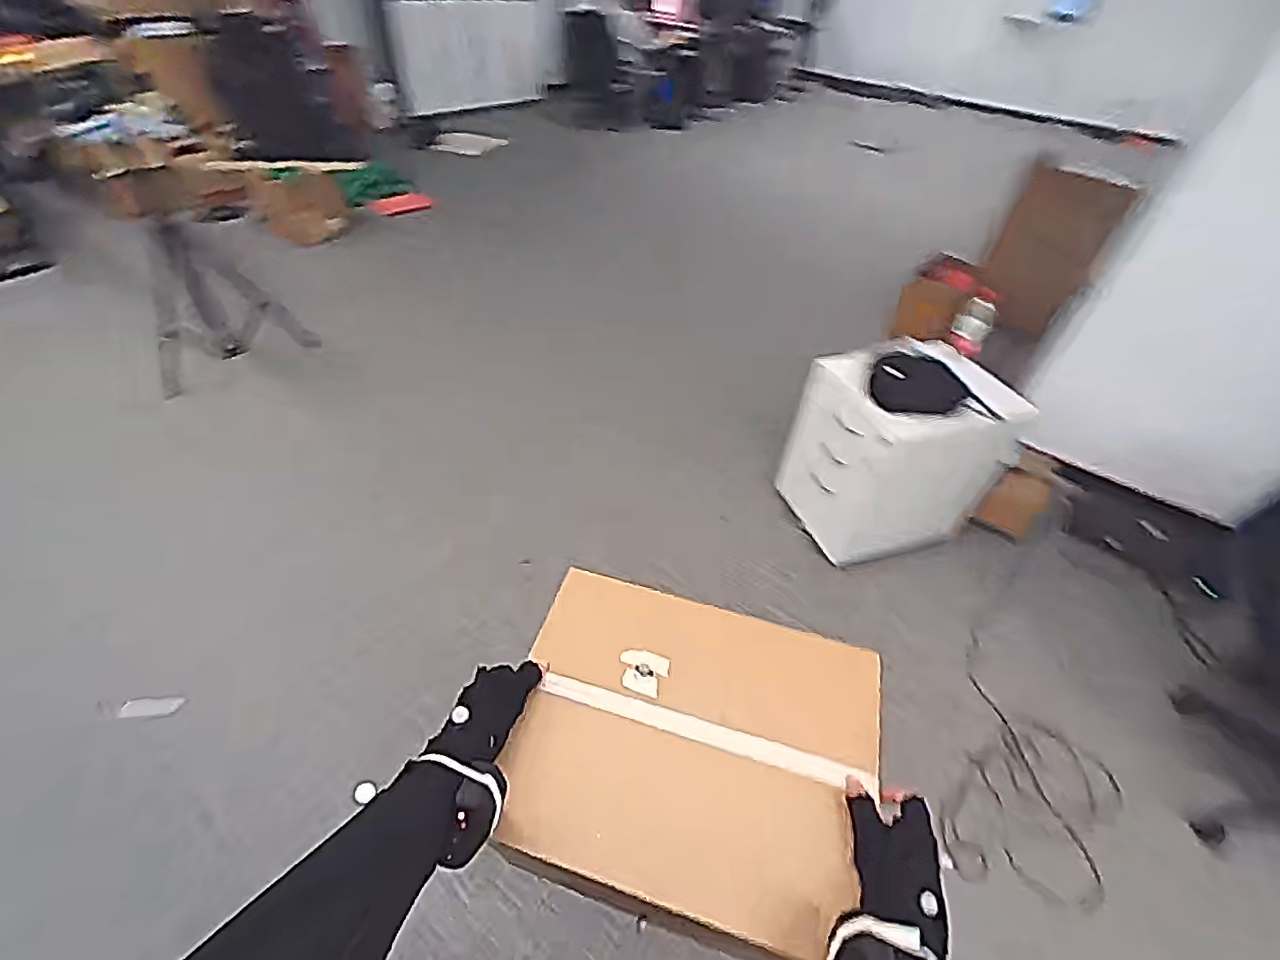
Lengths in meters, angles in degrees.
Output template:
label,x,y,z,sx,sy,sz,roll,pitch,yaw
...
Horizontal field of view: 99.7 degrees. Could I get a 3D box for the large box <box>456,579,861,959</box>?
label,x,y,z,sx,sy,sz,roll,pitch,yaw
large box,0.044,0.381,0.718,0.408,0.320,0.320,13,49,11
